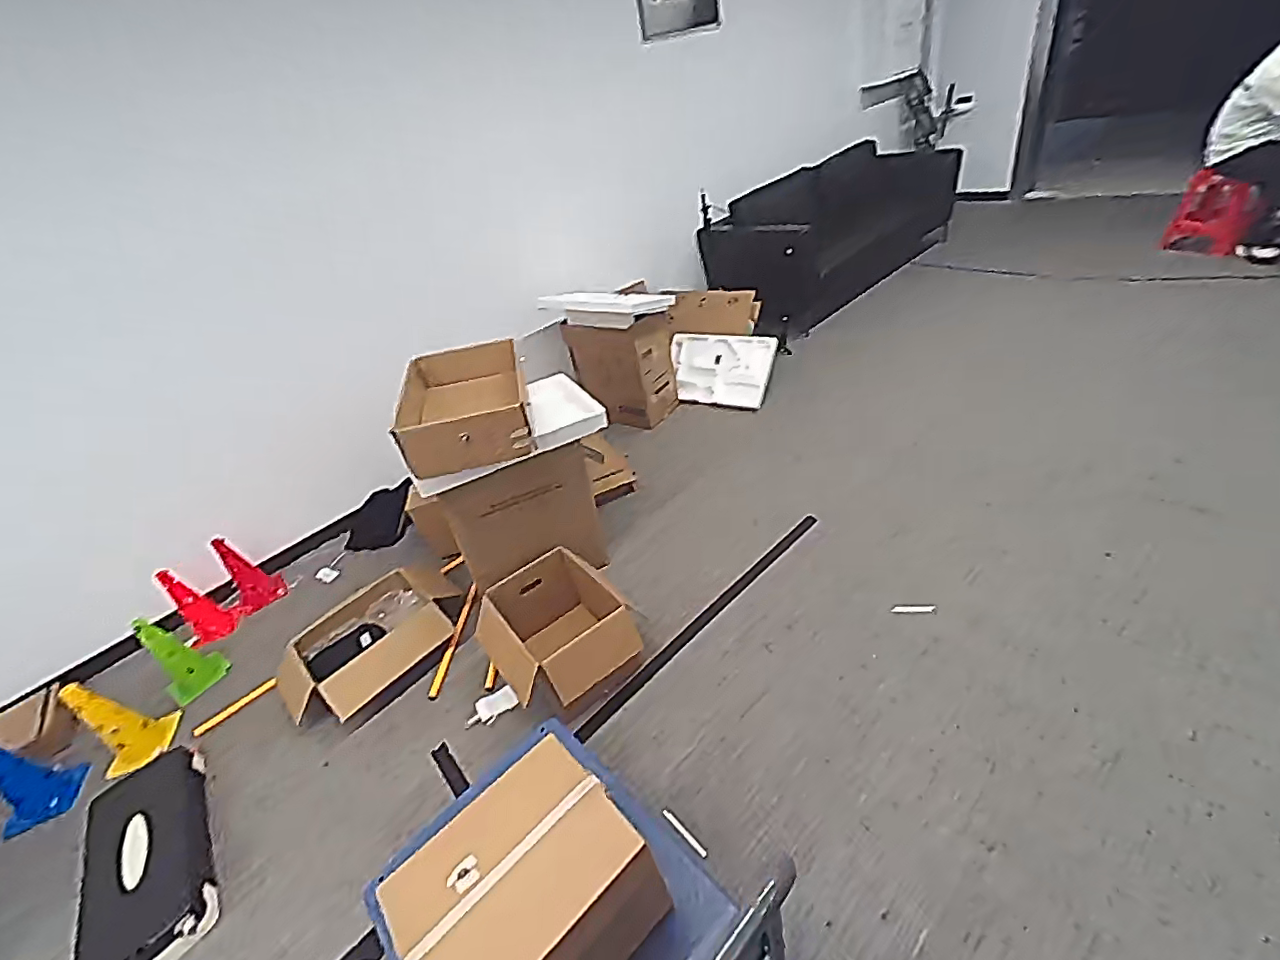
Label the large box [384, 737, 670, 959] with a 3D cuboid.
[{"bbox_3d":[-0.201,0.826,1.070,0.408,0.320,0.320,-36,39,-27],"label":"large box"}]
